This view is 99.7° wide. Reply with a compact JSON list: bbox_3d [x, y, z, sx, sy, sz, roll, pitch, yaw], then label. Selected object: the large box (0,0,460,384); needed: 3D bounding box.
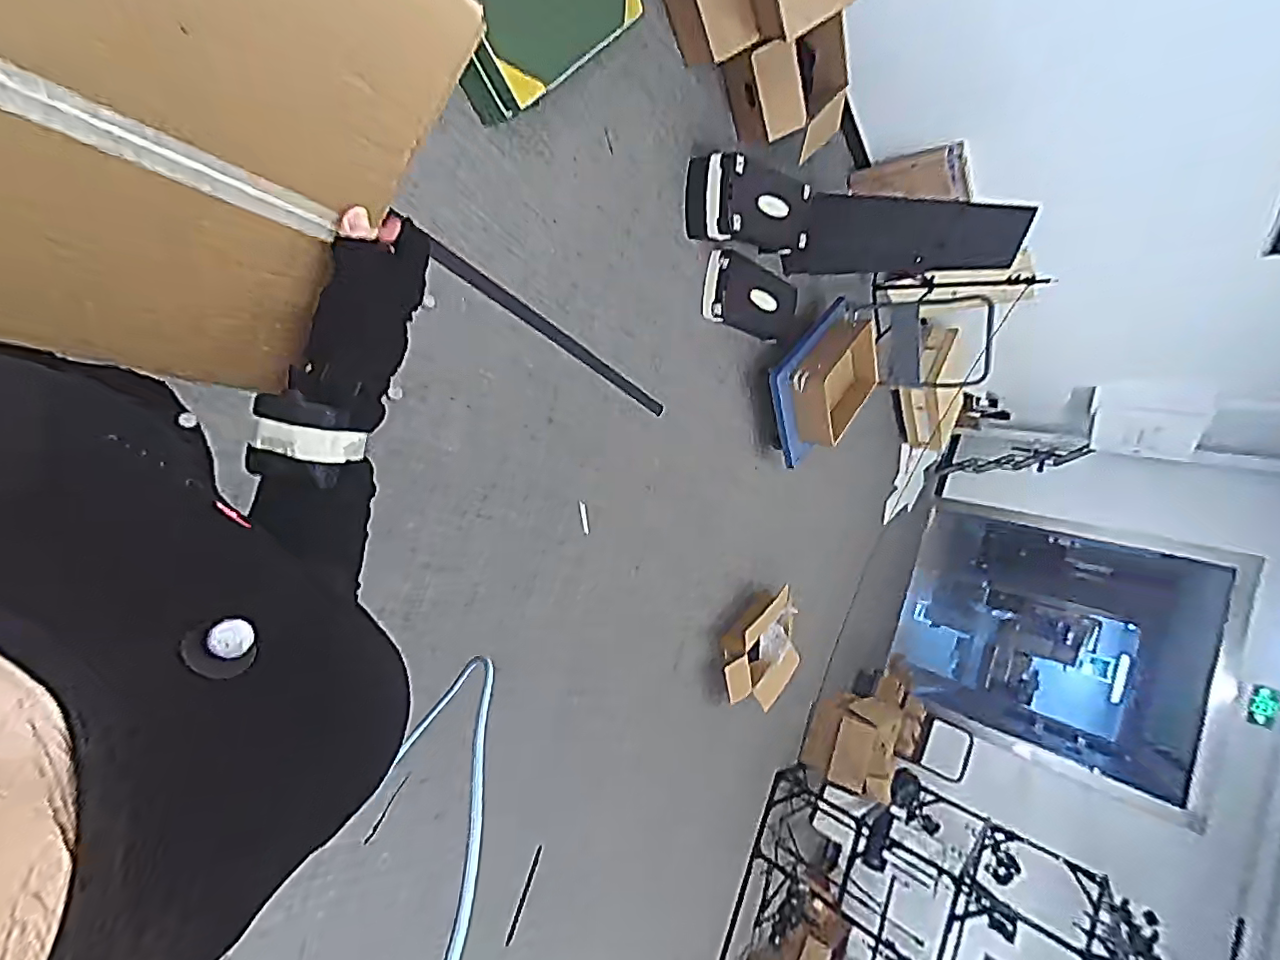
[{"bbox_3d":[-0.387,-0.306,0.299,0.320,0.320,0.408,-45,149,26],"label":"large box"}]
